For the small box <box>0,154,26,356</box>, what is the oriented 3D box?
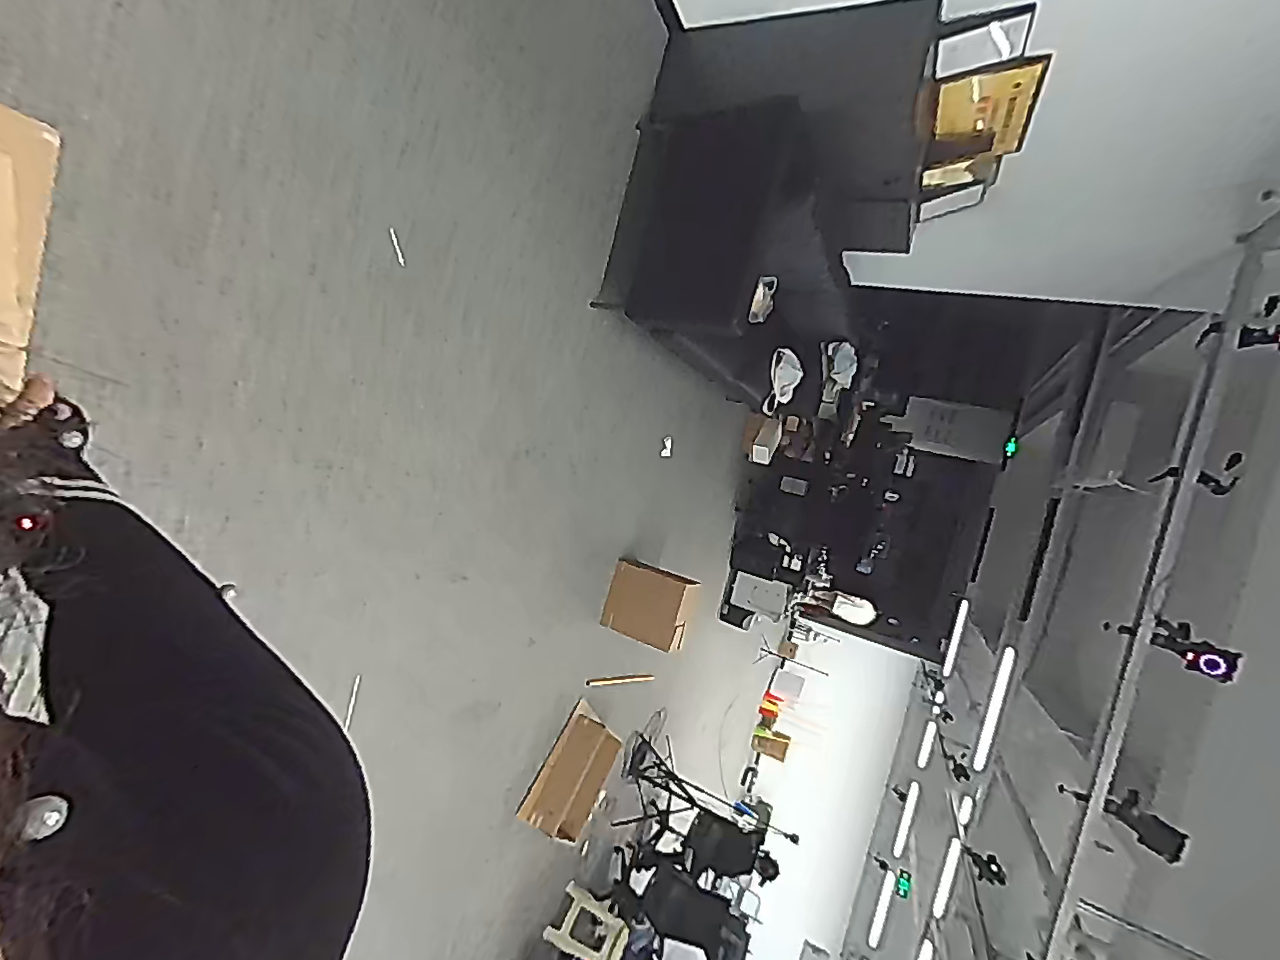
[{"bbox_3d":[-0.670,-0.215,0.461,0.168,0.176,0.179,-10,113,-60],"label":"small box"}]
